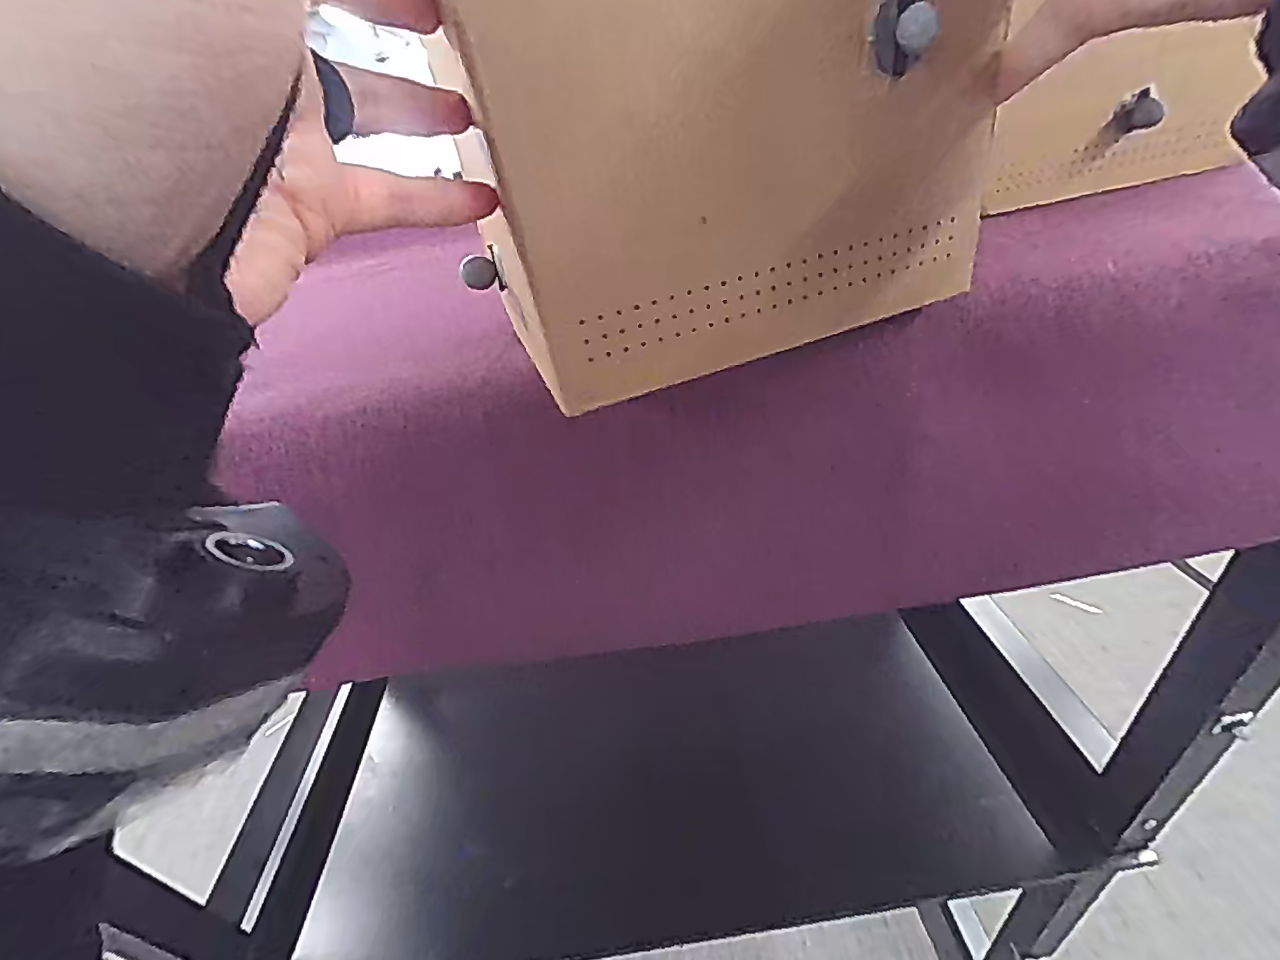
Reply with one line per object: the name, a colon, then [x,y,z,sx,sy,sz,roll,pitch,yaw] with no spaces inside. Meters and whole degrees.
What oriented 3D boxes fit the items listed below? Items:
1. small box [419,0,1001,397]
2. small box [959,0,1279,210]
small box: [0.016,-0.156,0.227,0.179,0.176,0.168,-20,32,-11]
small box: [0.263,-0.289,0.350,0.179,0.176,0.168,-12,33,0]
